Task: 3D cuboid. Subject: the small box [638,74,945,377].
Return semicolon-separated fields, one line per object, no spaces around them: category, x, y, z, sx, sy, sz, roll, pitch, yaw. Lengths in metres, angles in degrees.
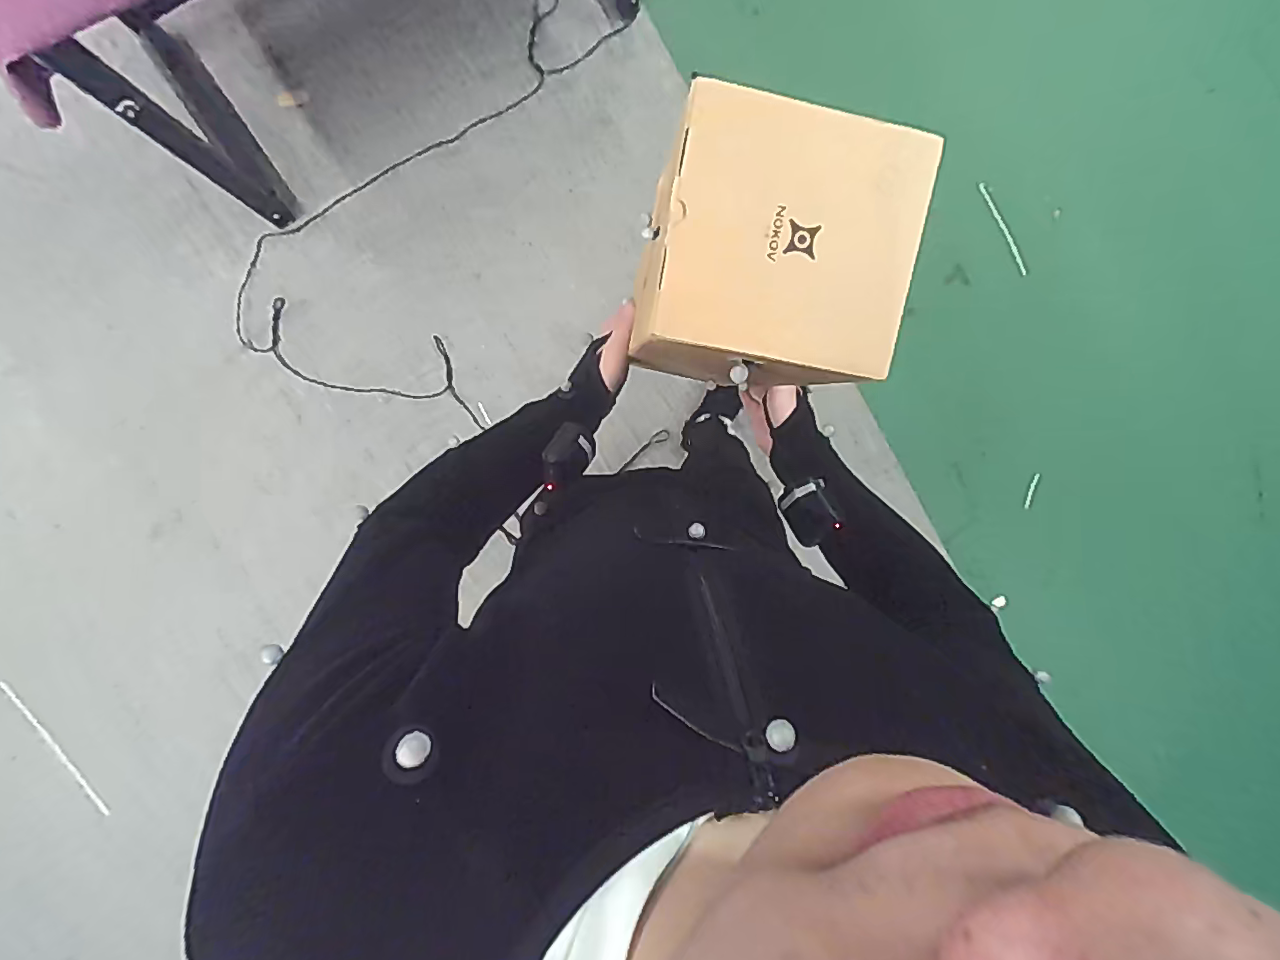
small box;0.102;-0.181;0.446;0.179;0.176;0.168;9;98;-6

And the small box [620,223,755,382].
small box;0.073;-0.237;0.767;0.179;0.176;0.168;10;97;-6
